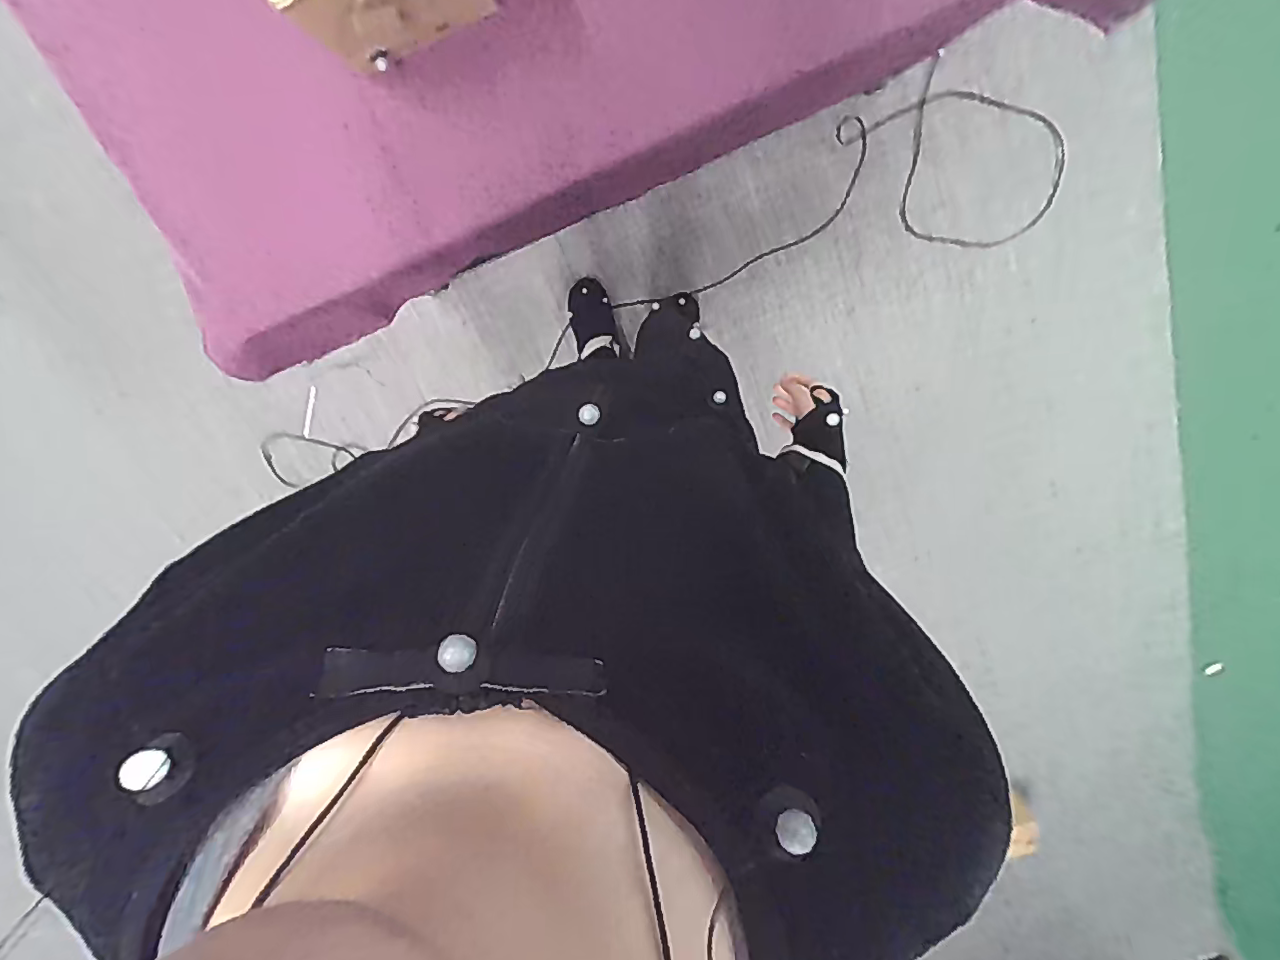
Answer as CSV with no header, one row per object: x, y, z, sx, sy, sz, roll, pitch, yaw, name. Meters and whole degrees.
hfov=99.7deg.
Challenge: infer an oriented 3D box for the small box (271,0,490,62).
-0.253,-0.508,0.471,0.168,0.176,0.179,-23,110,6,small box
